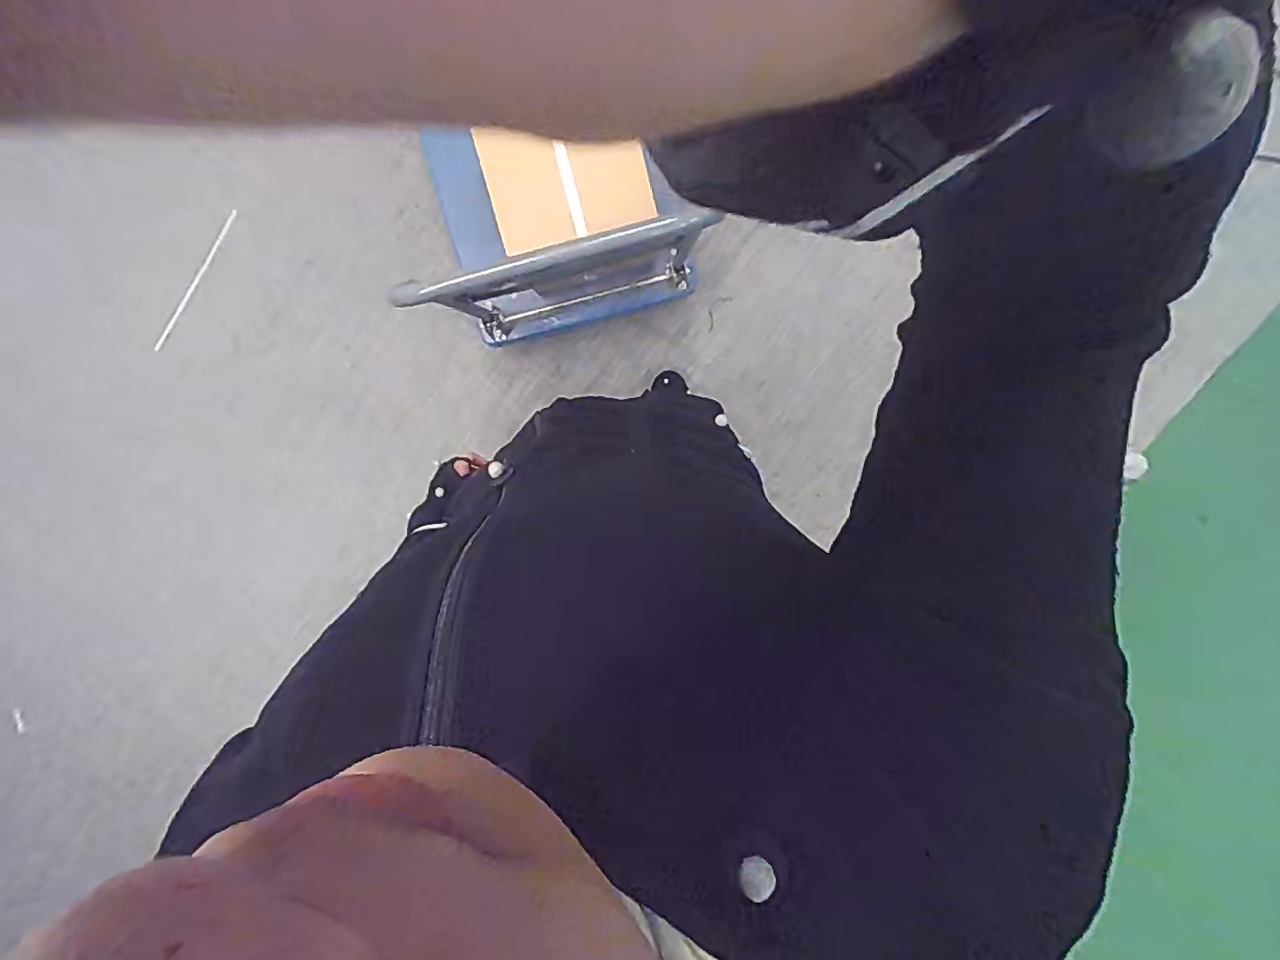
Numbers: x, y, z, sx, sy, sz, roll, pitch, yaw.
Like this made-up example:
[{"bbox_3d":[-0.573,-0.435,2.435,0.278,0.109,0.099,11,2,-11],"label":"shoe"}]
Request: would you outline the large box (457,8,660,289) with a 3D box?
[{"bbox_3d":[-0.153,-0.693,1.208,0.320,0.320,0.408,-14,98,2],"label":"large box"}]
